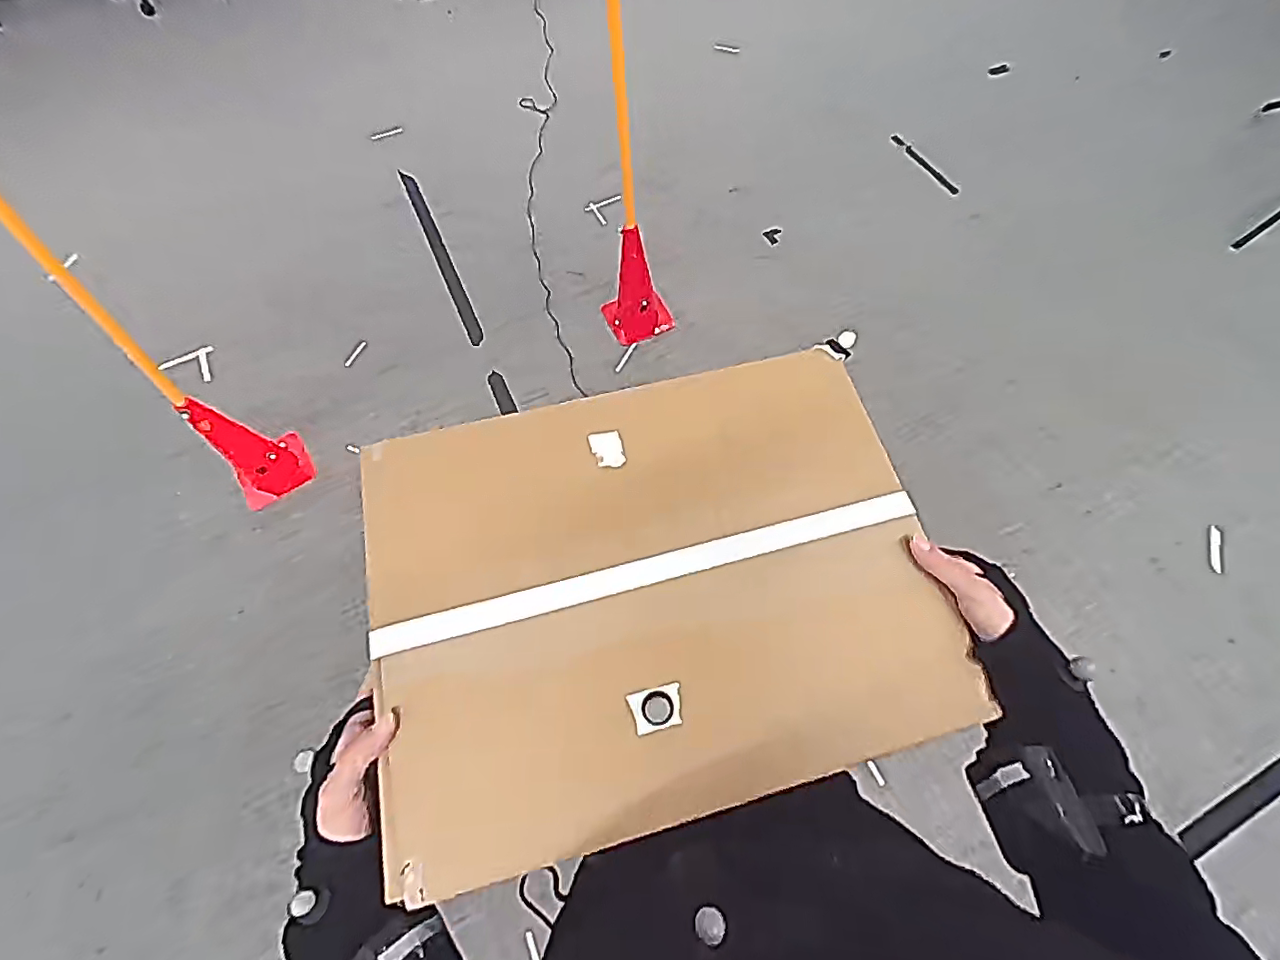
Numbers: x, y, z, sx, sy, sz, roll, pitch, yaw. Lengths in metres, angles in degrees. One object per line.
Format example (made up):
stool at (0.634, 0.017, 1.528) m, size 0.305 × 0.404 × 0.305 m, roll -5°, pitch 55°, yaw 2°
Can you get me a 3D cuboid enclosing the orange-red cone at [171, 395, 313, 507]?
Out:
orange-red cone at (-1.090, -0.108, 1.442) m, size 0.199 × 0.360 × 0.198 m, roll -33°, pitch 66°, yaw -12°
